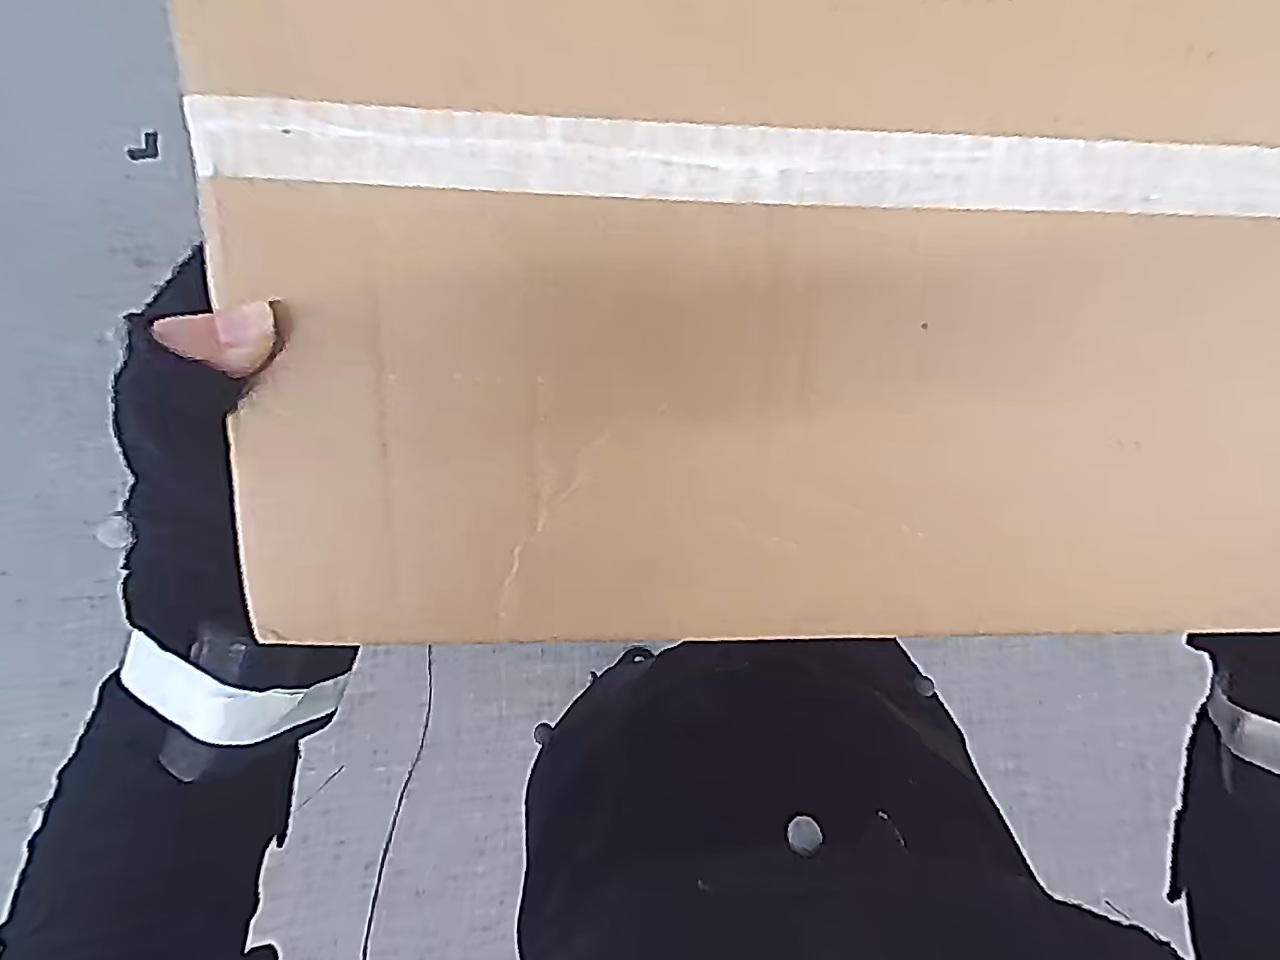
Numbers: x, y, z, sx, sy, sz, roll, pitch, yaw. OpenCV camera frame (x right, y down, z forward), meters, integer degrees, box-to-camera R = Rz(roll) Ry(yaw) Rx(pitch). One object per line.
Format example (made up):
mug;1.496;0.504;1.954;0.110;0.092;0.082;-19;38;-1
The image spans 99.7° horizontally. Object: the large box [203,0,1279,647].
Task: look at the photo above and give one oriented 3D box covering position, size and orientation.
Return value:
large box;0.060;-0.119;0.328;0.408;0.320;0.320;0;100;-4
